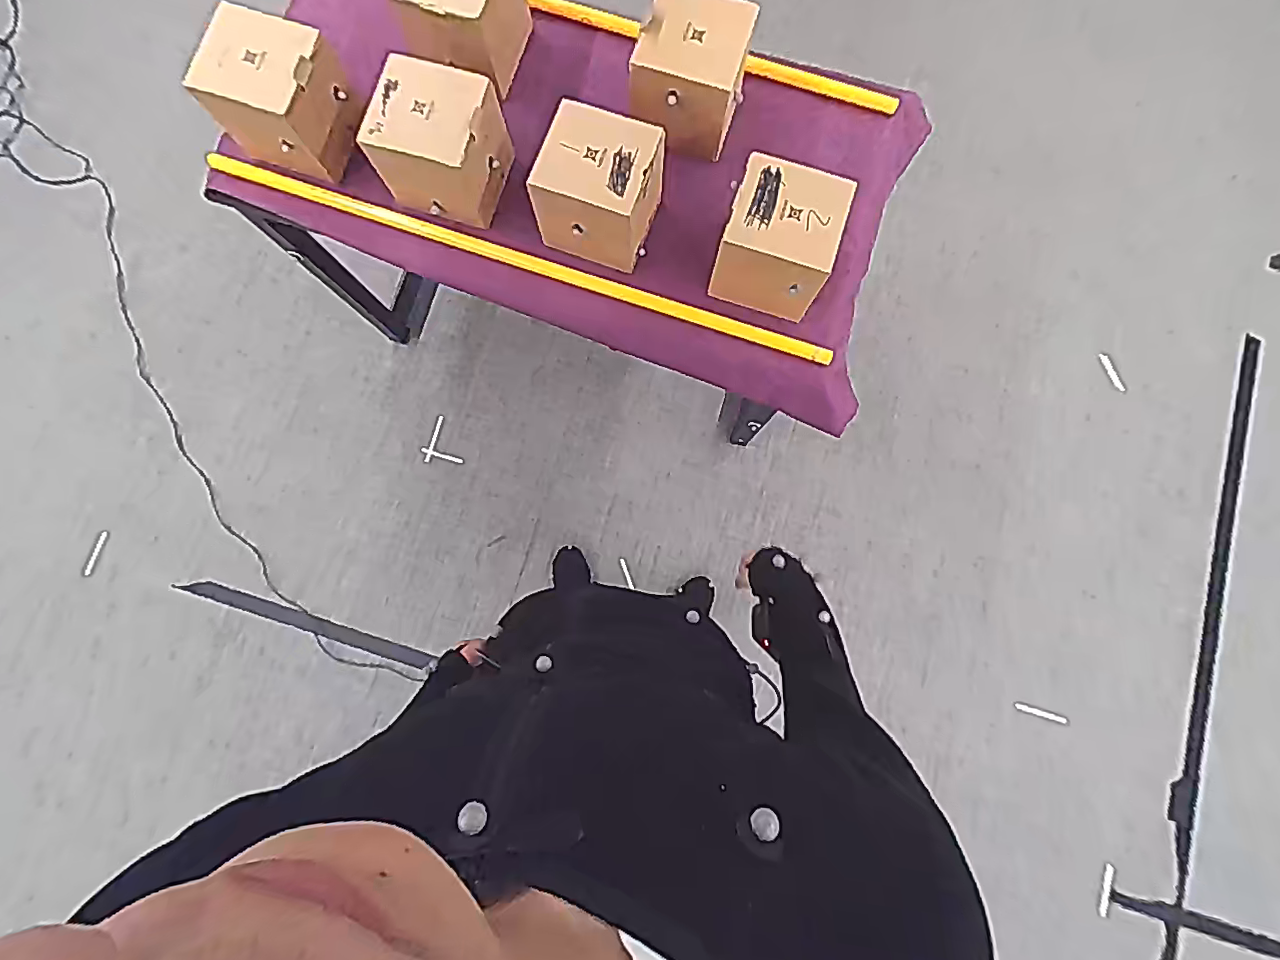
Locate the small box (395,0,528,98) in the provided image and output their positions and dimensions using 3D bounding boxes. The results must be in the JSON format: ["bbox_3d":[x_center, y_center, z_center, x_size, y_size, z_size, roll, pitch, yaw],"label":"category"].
[{"bbox_3d":[-0.313,-0.849,0.973,0.168,0.176,0.179,18,85,3],"label":"small box"}]

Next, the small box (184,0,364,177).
[{"bbox_3d":[-0.623,-0.673,0.949,0.179,0.176,0.168,17,82,0],"label":"small box"}]

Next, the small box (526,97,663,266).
[{"bbox_3d":[-0.070,-0.498,0.927,0.179,0.176,0.168,20,81,4],"label":"small box"}]

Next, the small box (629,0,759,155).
[{"bbox_3d":[0.090,-0.718,0.957,0.179,0.176,0.168,18,84,3],"label":"small box"}]

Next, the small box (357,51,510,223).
[{"bbox_3d":[-0.343,-0.581,0.939,0.179,0.176,0.168,16,83,1],"label":"small box"}]
